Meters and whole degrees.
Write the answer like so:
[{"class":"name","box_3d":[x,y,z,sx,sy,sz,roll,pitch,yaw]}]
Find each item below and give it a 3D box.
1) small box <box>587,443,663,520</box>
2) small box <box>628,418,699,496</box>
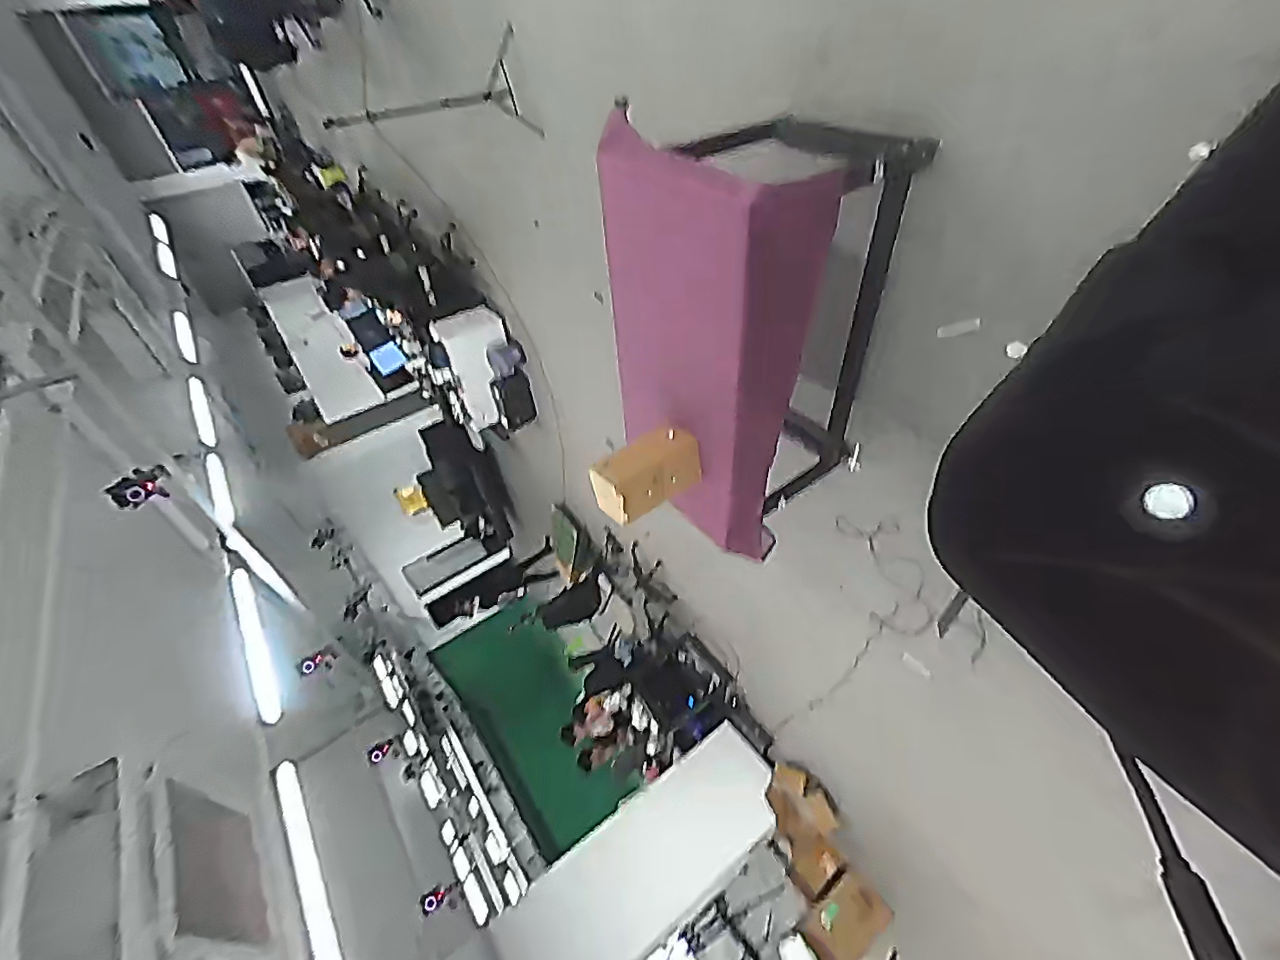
[{"class":"small box","box_3d":[-0.048,-0.003,1.792,0.179,0.176,0.168,34,146,46]},{"class":"small box","box_3d":[0.086,-0.083,1.847,0.168,0.176,0.179,35,146,45]}]
